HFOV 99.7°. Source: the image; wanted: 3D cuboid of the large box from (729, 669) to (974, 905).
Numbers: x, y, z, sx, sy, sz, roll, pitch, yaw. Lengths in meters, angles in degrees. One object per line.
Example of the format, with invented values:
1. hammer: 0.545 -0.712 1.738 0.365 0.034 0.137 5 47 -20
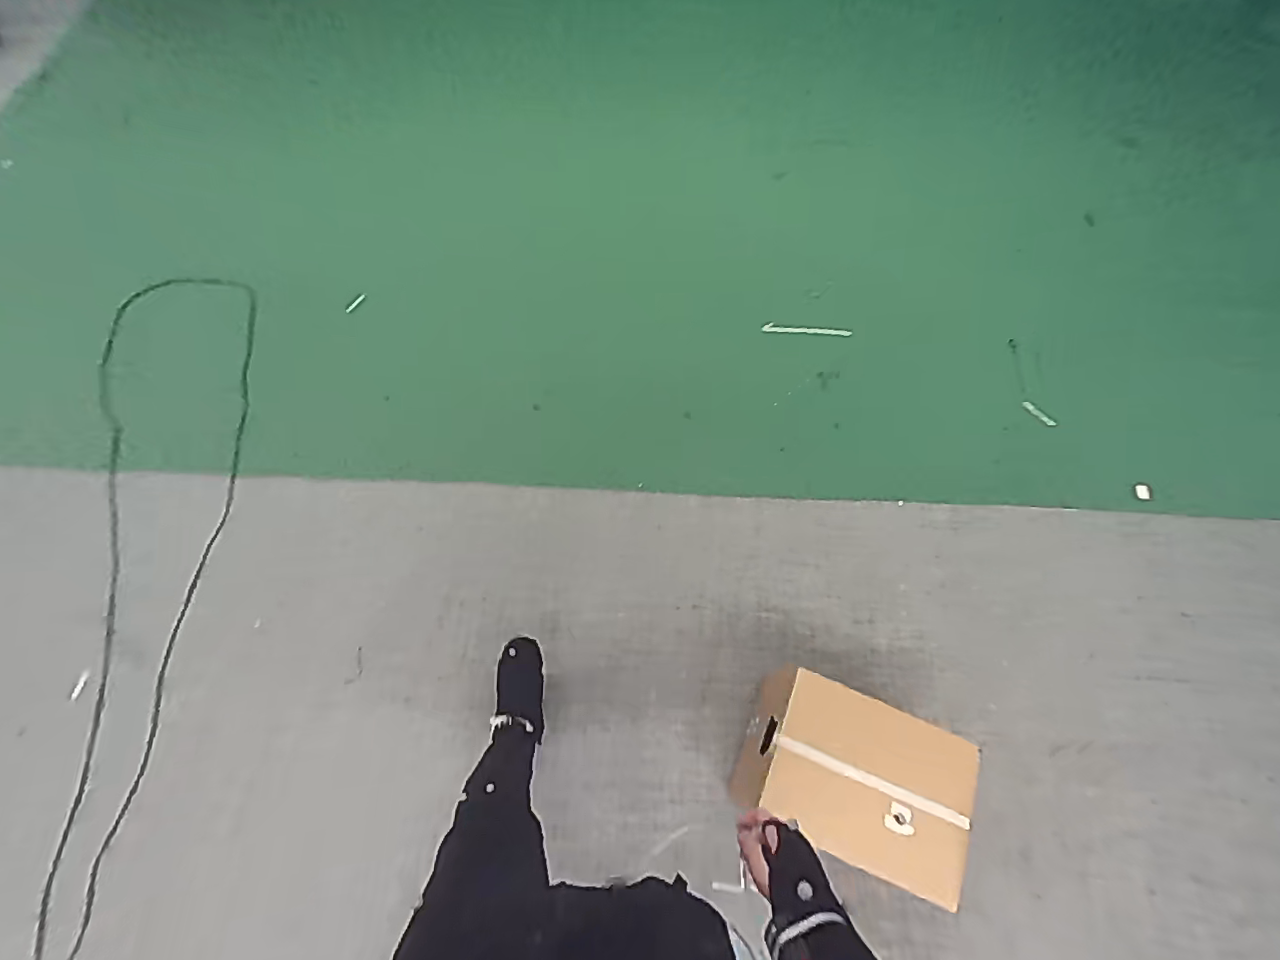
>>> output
1. large box: 0.461 0.673 1.240 0.408 0.320 0.320 22 67 8
